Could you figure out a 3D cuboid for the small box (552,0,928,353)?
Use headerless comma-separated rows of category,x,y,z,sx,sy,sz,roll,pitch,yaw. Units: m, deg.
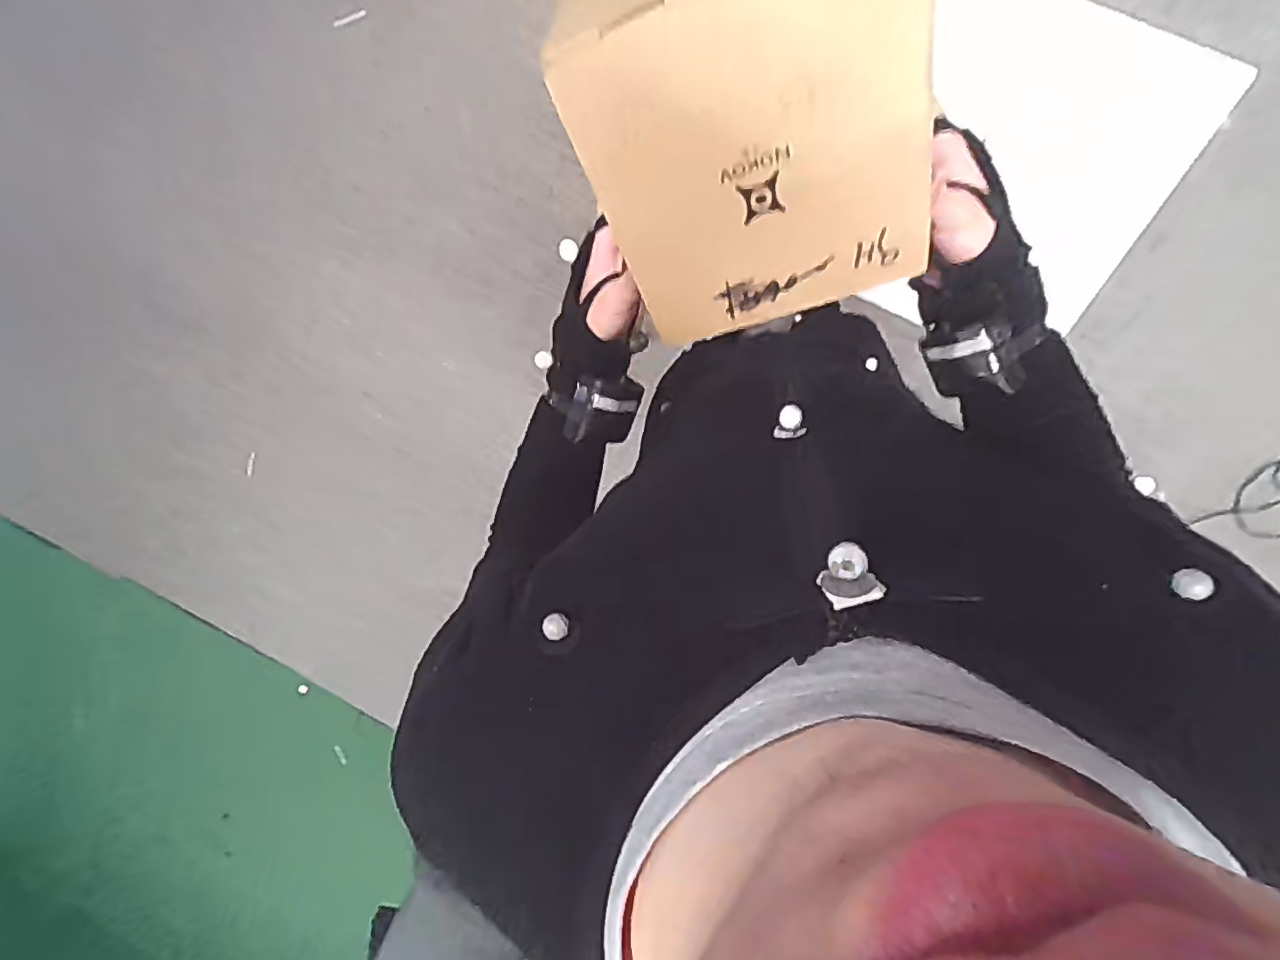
small box,0.064,-0.216,0.335,0.168,0.176,0.179,-12,141,18
